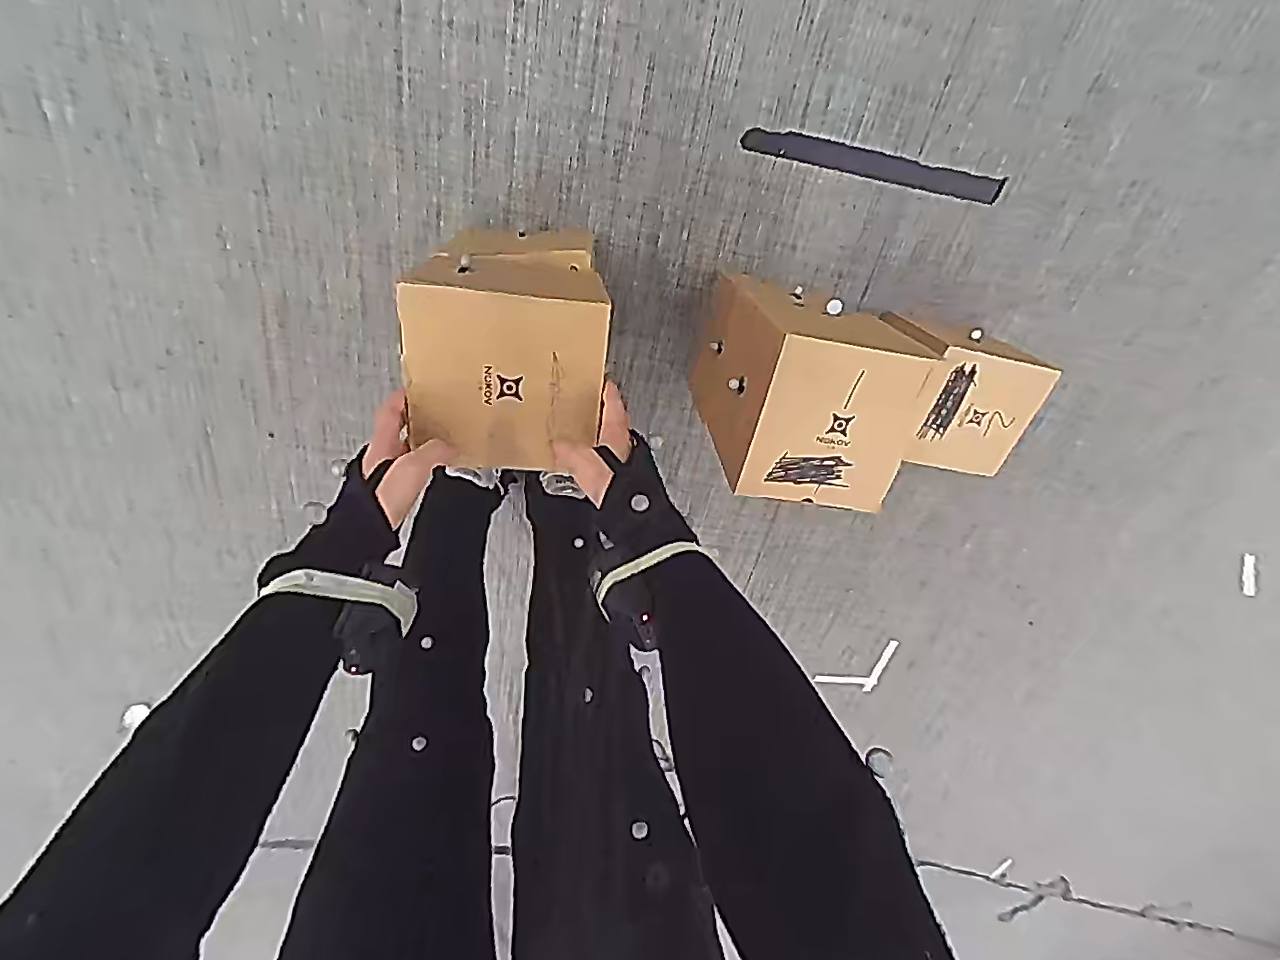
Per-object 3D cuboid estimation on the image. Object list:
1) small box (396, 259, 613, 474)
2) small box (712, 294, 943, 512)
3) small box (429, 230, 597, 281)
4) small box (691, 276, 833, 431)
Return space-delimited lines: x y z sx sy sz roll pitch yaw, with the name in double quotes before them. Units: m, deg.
"small box" -0.129 -0.120 0.546 0.179 0.176 0.168 3 119 -11
"small box" 0.186 -0.089 0.604 0.168 0.176 0.179 7 120 -9
"small box" -0.145 -0.219 0.693 0.179 0.176 0.168 -2 122 -2
"small box" 0.176 -0.167 0.749 0.168 0.176 0.179 11 121 -10
